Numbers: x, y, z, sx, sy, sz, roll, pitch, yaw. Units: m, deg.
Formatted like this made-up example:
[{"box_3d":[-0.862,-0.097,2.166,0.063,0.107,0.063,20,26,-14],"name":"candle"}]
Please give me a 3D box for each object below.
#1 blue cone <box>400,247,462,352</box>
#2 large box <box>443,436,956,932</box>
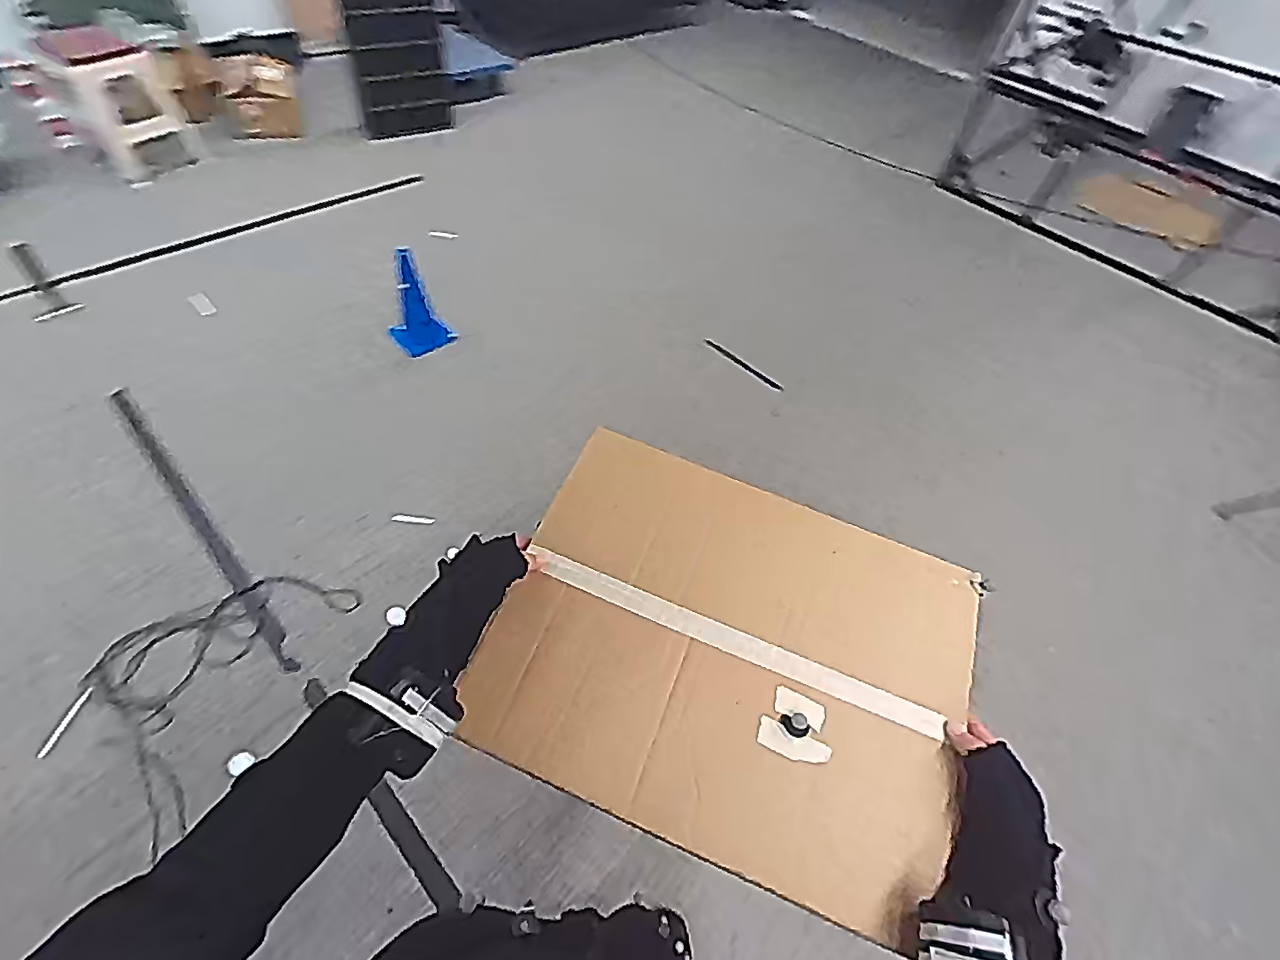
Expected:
[{"box_3d":[-0.809,-0.681,2.011,0.192,0.380,0.193,-33,65,-29],"name":"blue cone"},{"box_3d":[0.062,0.212,0.611,0.408,0.320,0.320,21,62,6],"name":"large box"}]
